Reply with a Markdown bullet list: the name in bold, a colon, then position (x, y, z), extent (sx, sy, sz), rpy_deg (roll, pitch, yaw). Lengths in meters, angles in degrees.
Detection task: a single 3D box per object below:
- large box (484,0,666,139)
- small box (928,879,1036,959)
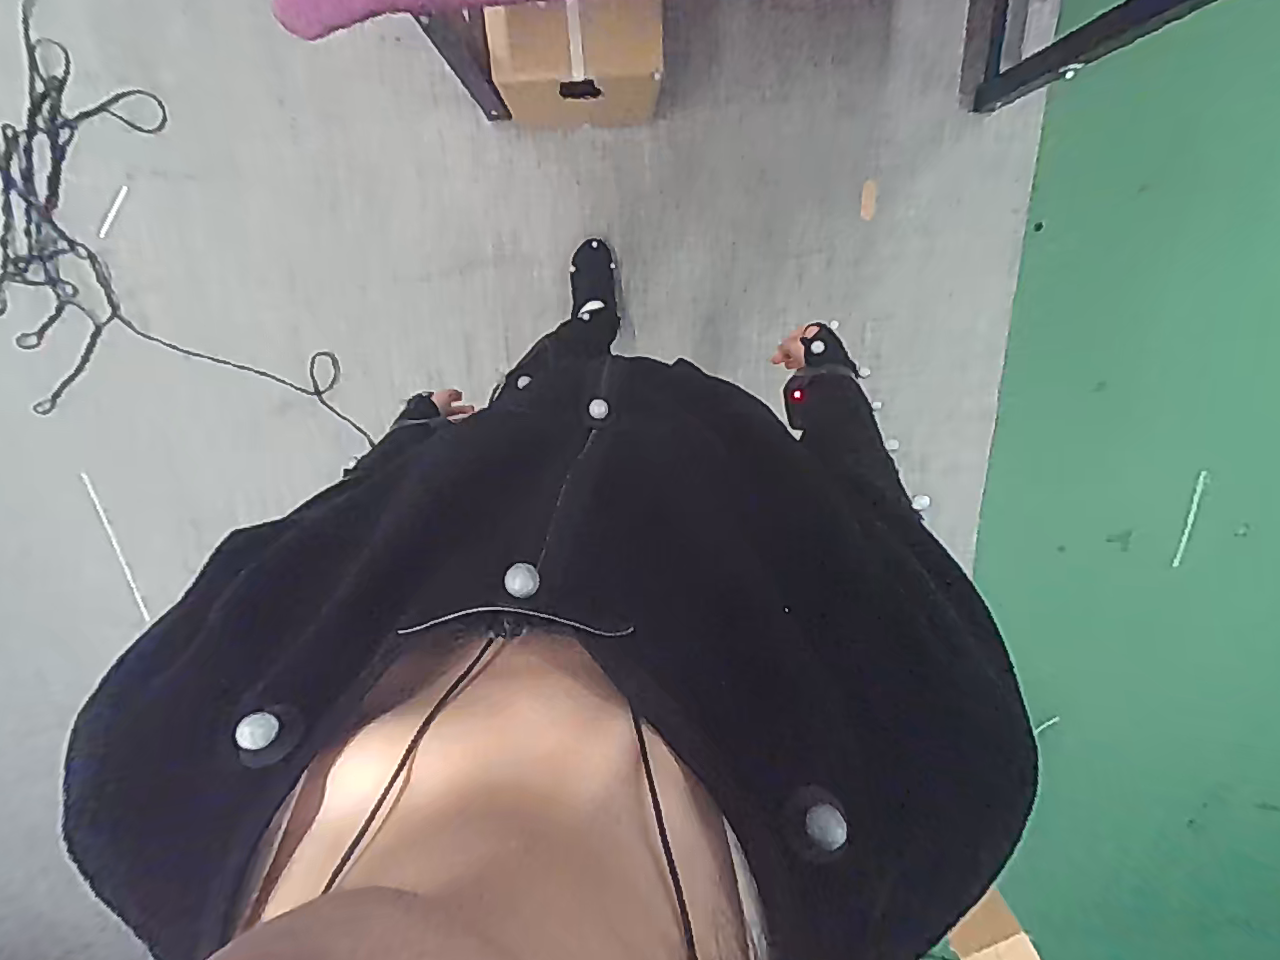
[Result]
- **large box**: position (-0.128, -0.944, 1.058), extent (0.320, 0.320, 0.408), rpy_deg (-4, 109, -1)
- **small box**: position (0.866, 1.157, 1.353), extent (0.168, 0.176, 0.179), rpy_deg (-31, 105, 7)
